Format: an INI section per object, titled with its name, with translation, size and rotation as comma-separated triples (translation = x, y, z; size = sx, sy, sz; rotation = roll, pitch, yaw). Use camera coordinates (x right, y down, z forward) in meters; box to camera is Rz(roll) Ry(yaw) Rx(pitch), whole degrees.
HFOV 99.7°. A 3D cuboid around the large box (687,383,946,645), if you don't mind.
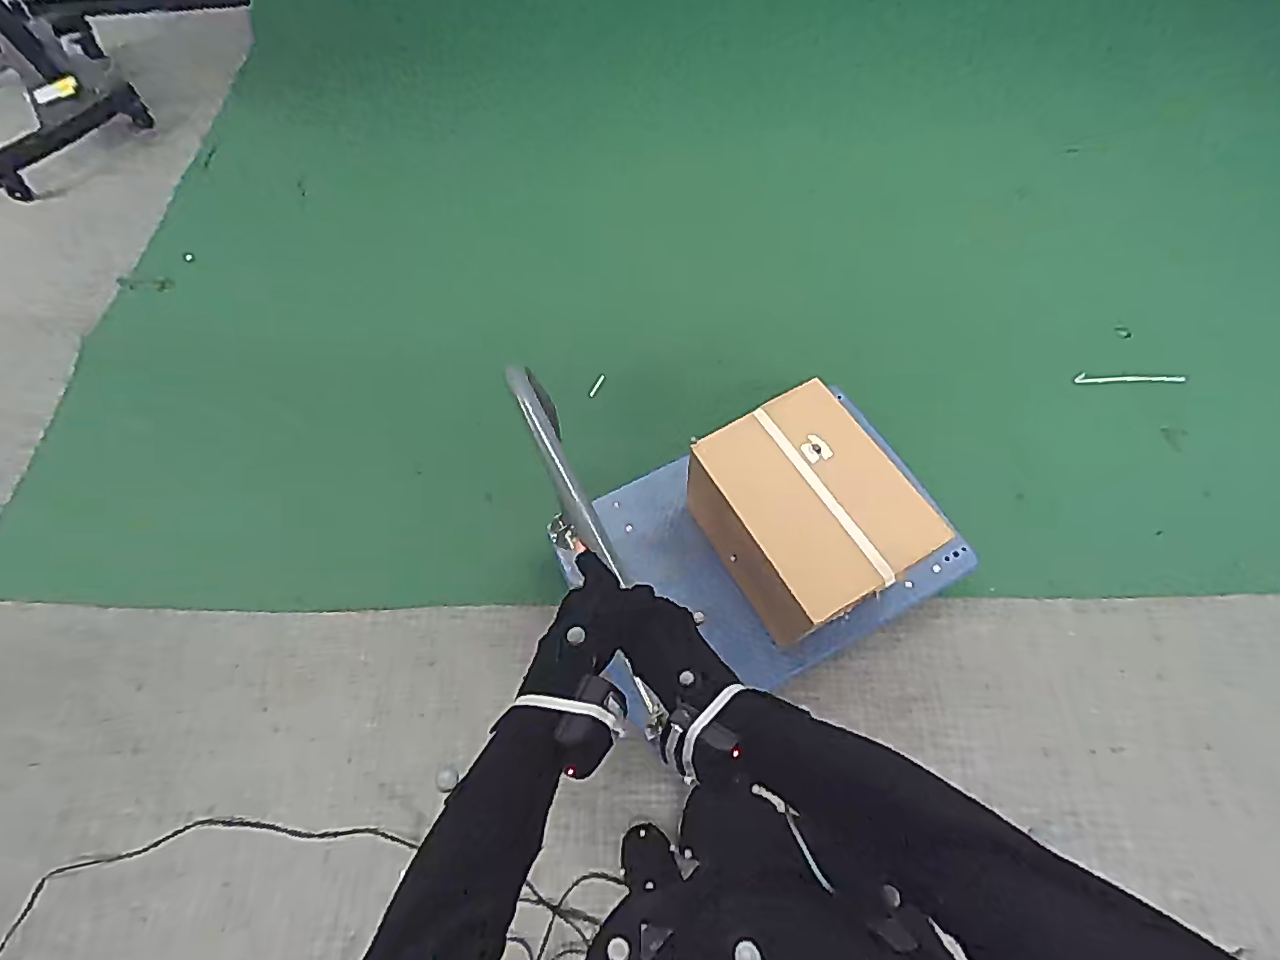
[large box]
translation = 0.333, 0.082, 1.156
size = 0.320, 0.320, 0.408
rotation = -28, 66, -10
